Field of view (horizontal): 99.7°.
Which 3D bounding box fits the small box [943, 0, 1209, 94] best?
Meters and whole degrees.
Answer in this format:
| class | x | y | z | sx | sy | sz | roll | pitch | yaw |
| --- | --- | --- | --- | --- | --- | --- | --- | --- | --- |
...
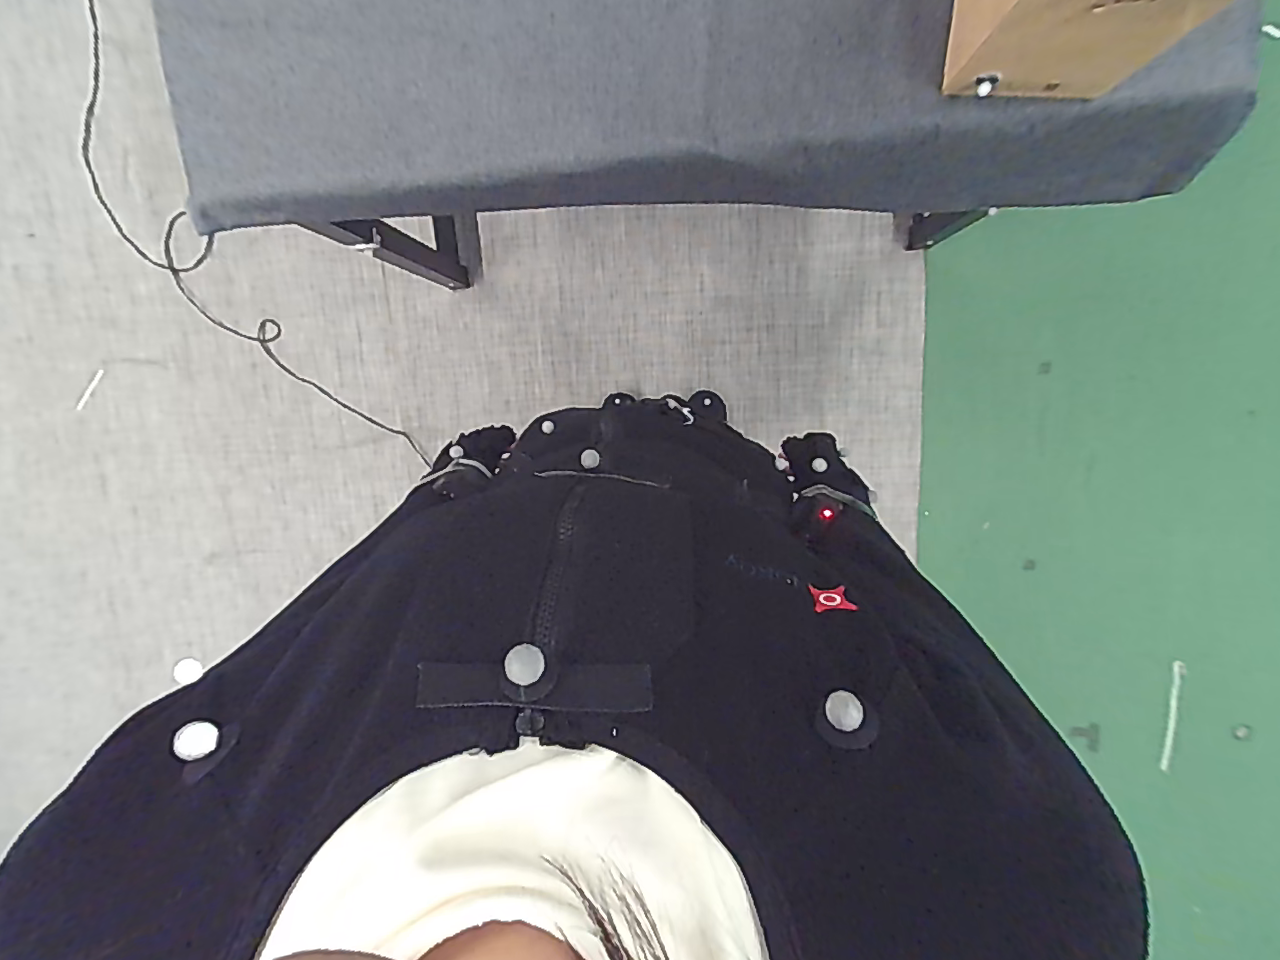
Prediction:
| class | x | y | z | sx | sy | sz | roll | pitch | yaw |
| --- | --- | --- | --- | --- | --- | --- | --- | --- | --- |
| small box | 0.409 | -0.494 | 0.500 | 0.168 | 0.176 | 0.179 | 5 | 99 | 4 |
